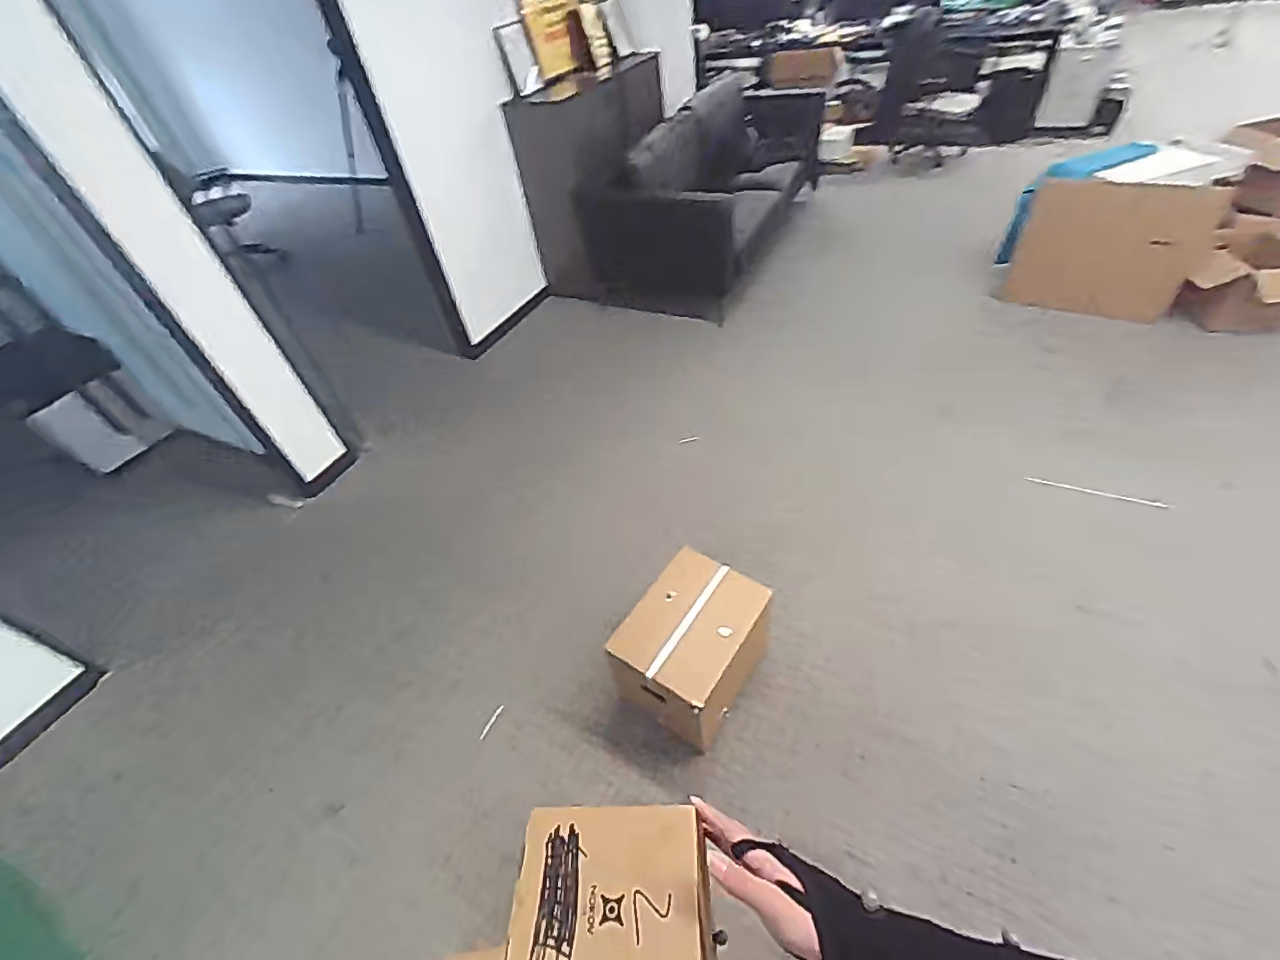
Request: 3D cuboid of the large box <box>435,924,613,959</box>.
[{"bbox_3d":[-0.206,1.134,1.025,0.320,0.320,0.408,-10,46,1],"label":"large box"}]
